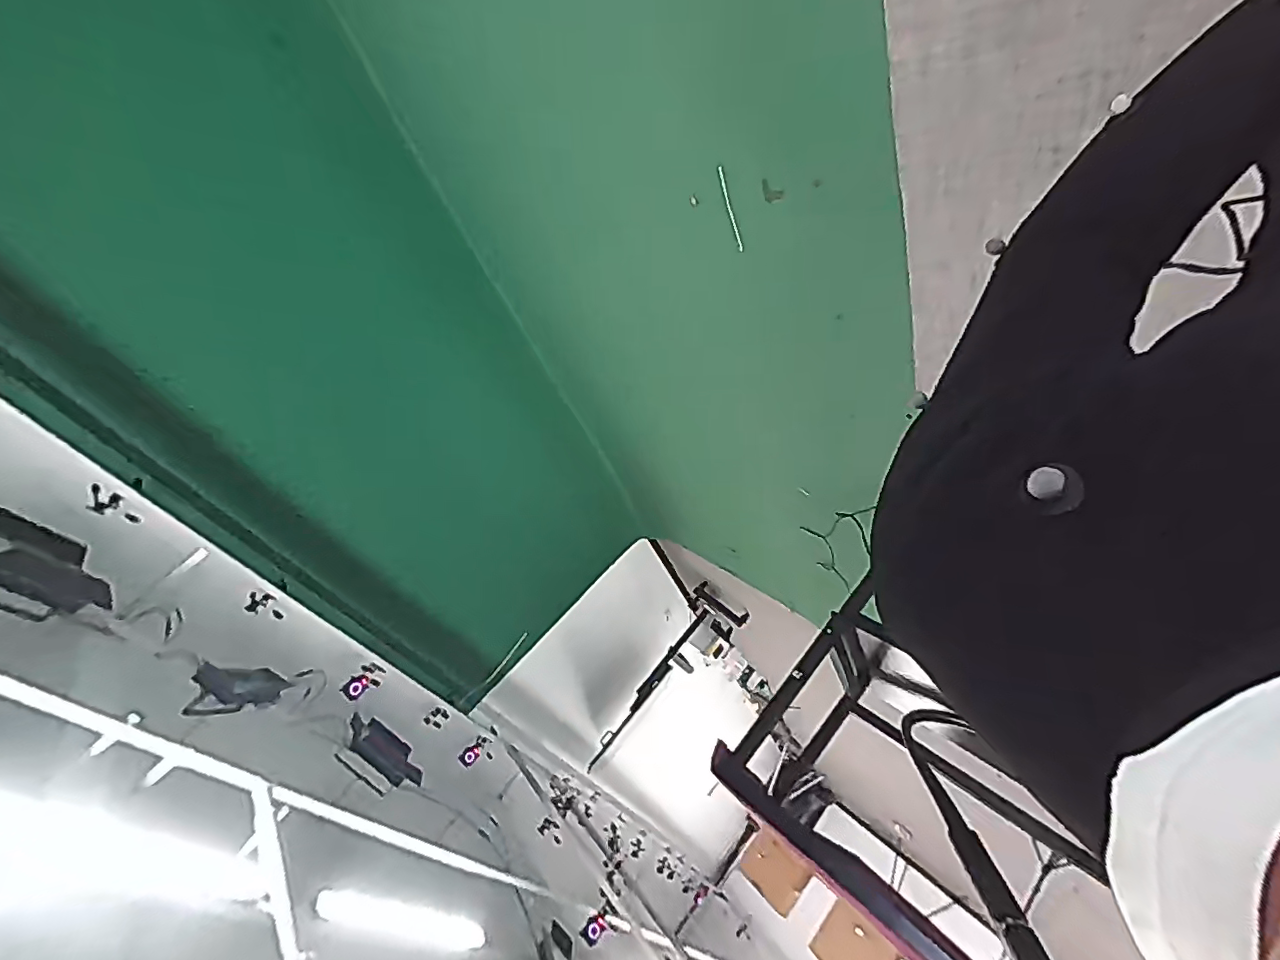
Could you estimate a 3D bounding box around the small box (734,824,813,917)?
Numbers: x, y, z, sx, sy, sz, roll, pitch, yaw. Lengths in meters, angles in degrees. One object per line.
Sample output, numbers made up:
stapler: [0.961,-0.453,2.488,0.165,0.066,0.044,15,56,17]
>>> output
small box: [0.430,1.238,1.721,0.168,0.176,0.179,28,156,42]

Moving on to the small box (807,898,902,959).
small box: [0.606,1.322,1.520,0.179,0.176,0.168,26,156,46]
